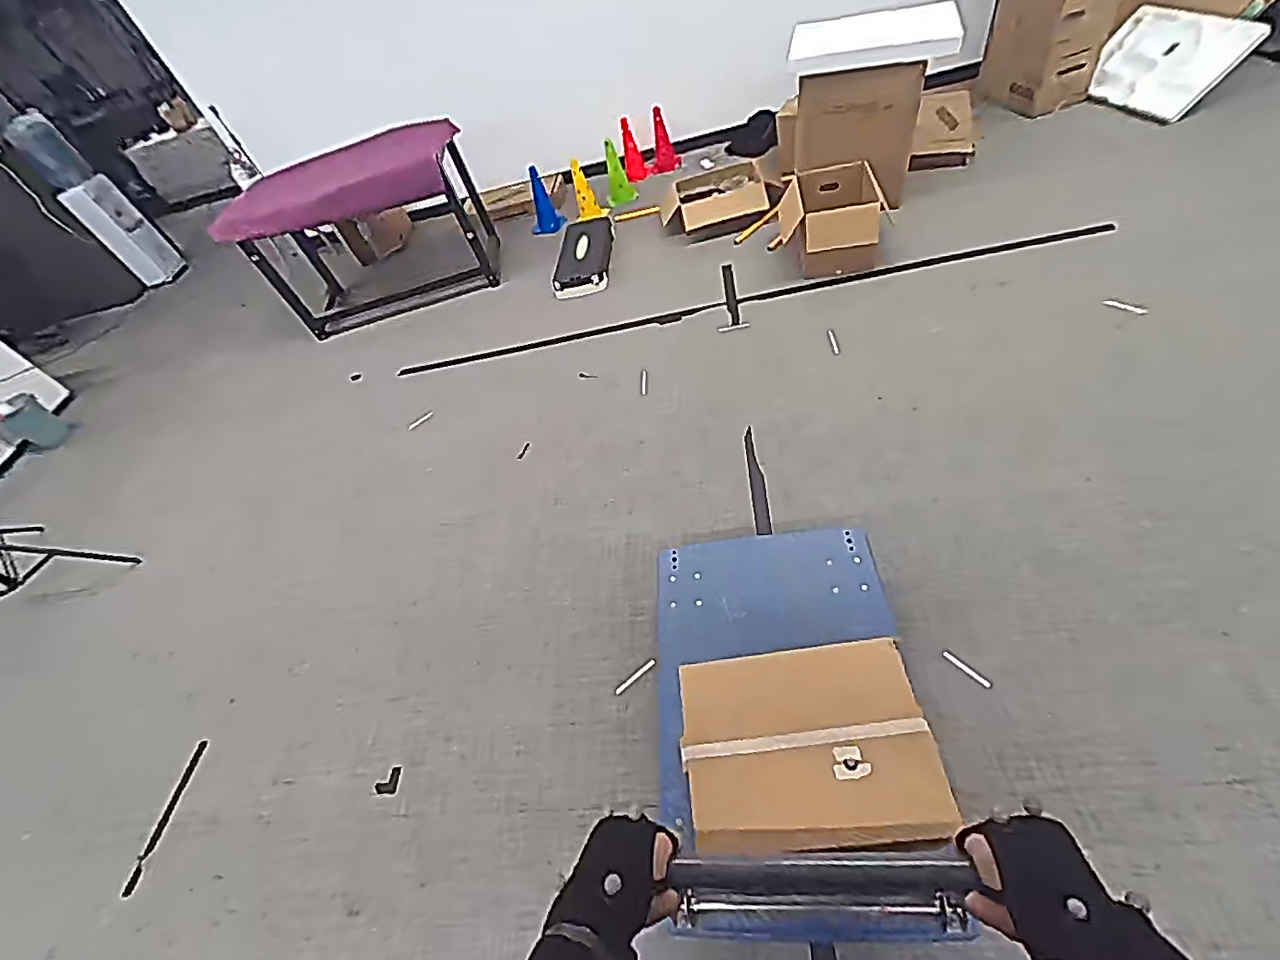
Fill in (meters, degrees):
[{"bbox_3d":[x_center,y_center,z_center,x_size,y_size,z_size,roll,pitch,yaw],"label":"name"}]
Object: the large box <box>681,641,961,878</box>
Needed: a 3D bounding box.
[{"bbox_3d":[0.311,0.545,1.038,0.408,0.320,0.320,-10,49,7],"label":"large box"}]
